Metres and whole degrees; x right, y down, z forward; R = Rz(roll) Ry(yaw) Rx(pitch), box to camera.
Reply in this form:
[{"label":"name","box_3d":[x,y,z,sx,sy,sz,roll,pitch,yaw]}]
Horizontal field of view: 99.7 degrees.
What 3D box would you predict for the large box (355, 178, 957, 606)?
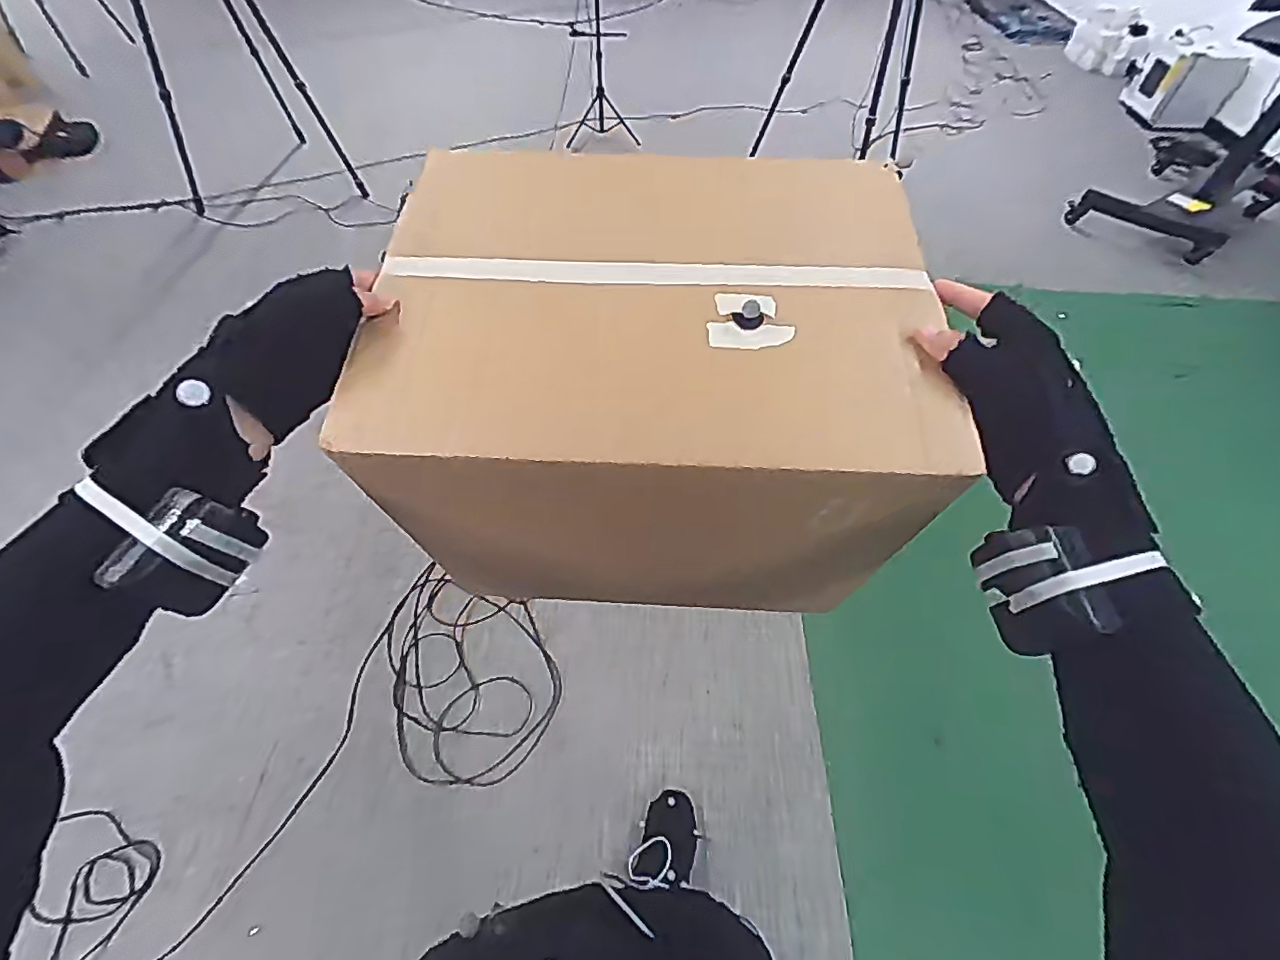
[{"label":"large box","box_3d":[0.012,-0.068,0.553,0.408,0.320,0.320,3,61,1]}]
